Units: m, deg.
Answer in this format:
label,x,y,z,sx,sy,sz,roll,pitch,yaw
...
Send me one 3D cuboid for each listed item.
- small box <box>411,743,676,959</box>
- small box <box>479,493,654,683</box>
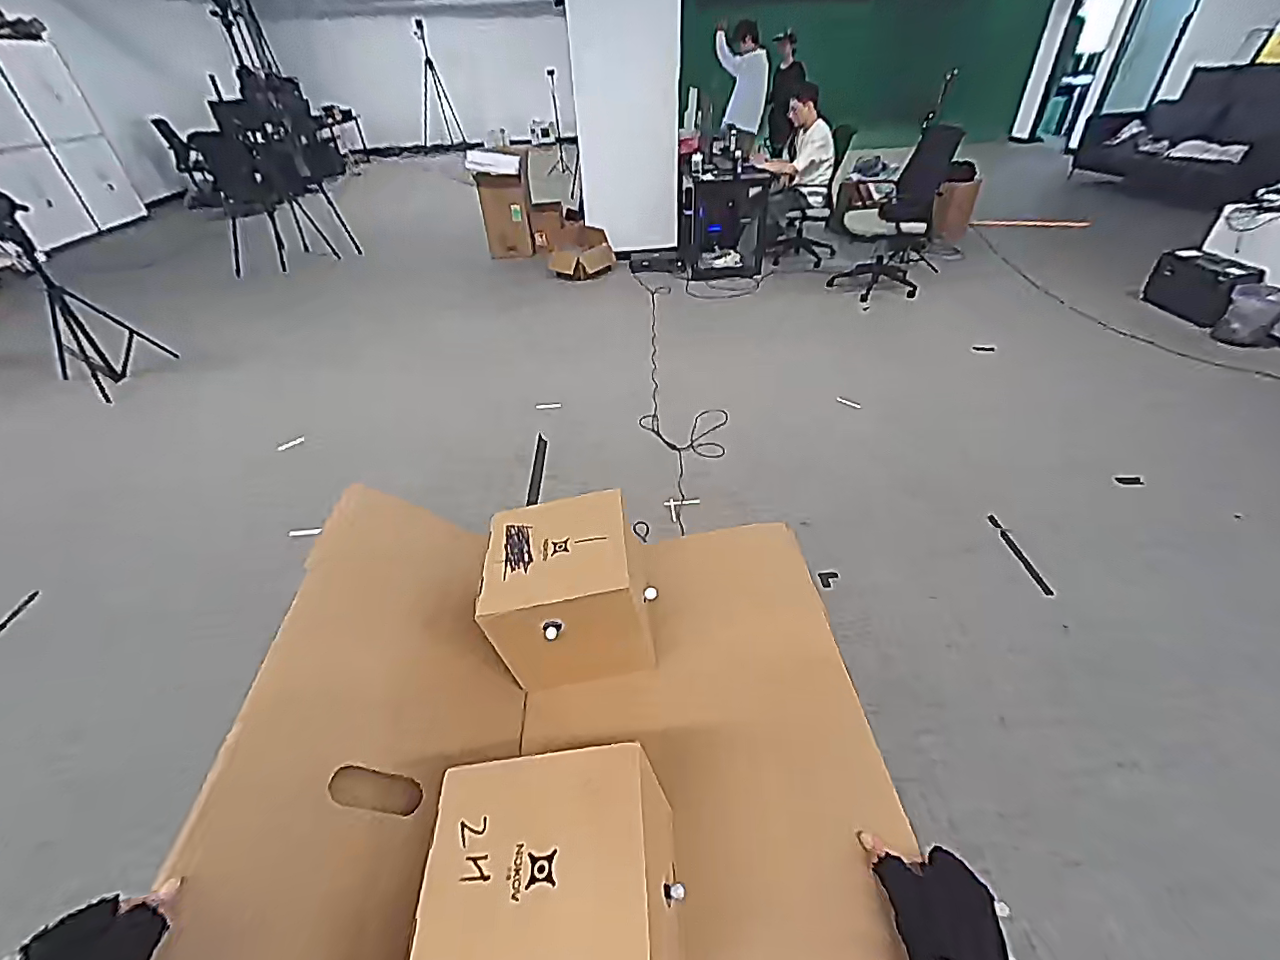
label,x,y,z,sx,sy,sz,roll,pitch,yaw
small box,-0.065,0.352,0.467,0.179,0.176,0.168,-10,40,6
small box,-0.087,0.146,0.711,0.179,0.176,0.168,-11,41,3
